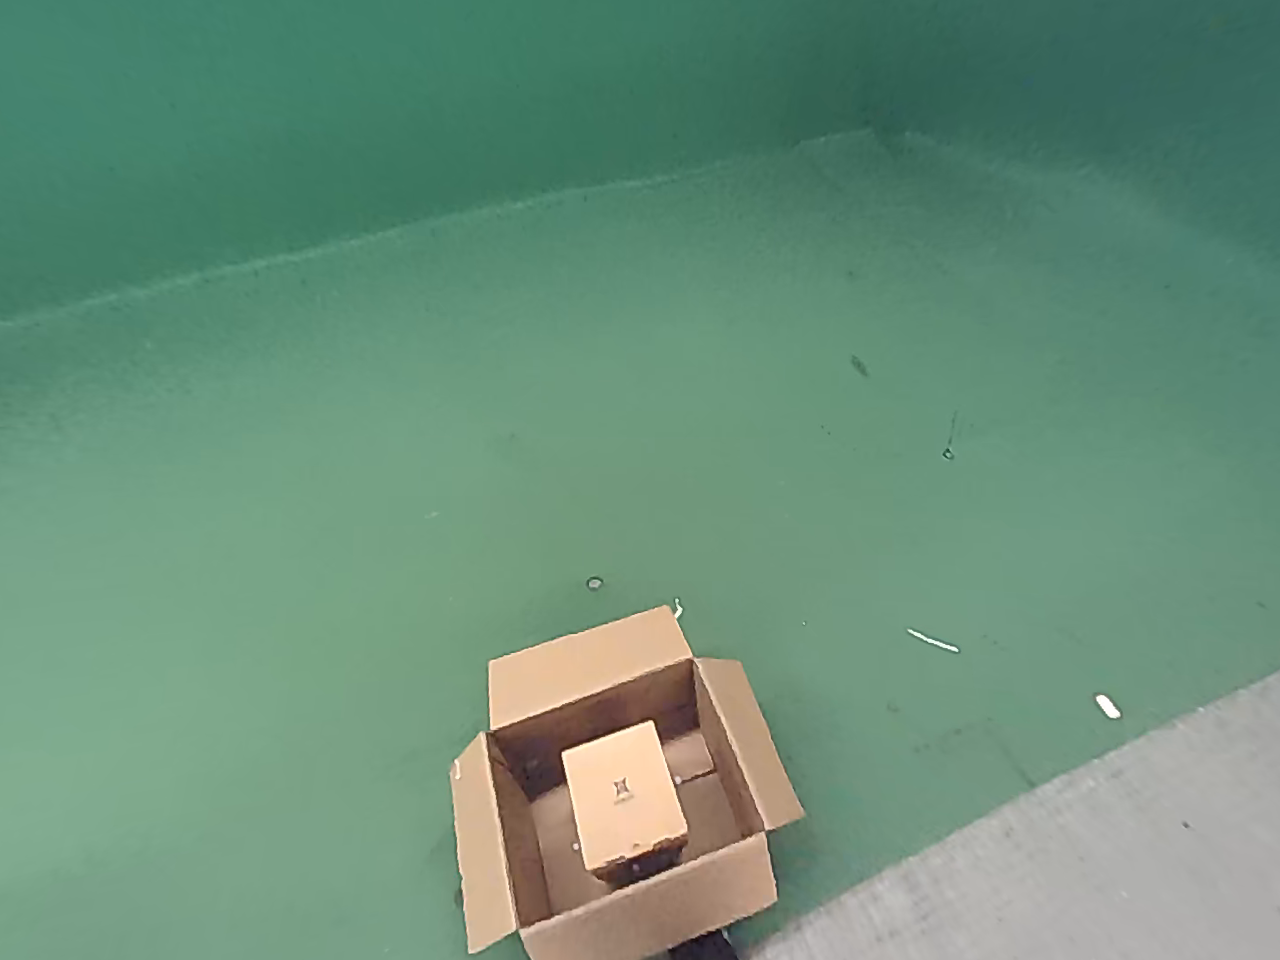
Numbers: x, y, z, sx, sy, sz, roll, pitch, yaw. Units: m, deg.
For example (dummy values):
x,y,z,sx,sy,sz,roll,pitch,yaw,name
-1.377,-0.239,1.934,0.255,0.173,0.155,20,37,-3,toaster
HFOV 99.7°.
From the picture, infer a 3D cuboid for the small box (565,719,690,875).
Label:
x,y,z,sx,sy,sz,roll,pitch,yaw,name
-0.023,0.545,0.929,0.168,0.176,0.179,-16,52,-10,small box
